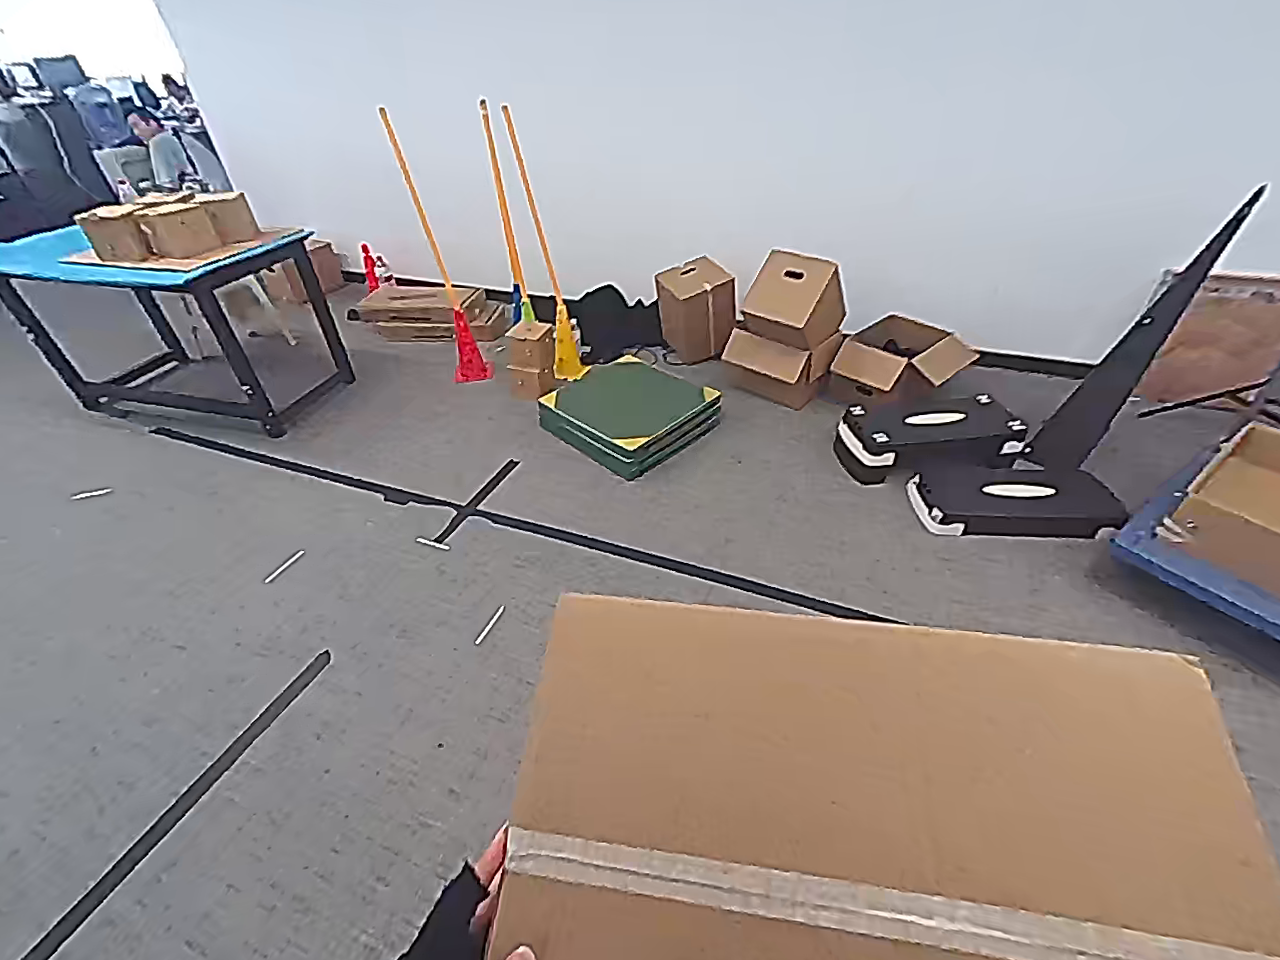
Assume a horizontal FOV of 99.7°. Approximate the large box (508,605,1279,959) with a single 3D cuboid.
[{"bbox_3d":[0.143,0.309,0.425,0.408,0.320,0.320,4,61,10],"label":"large box"}]
